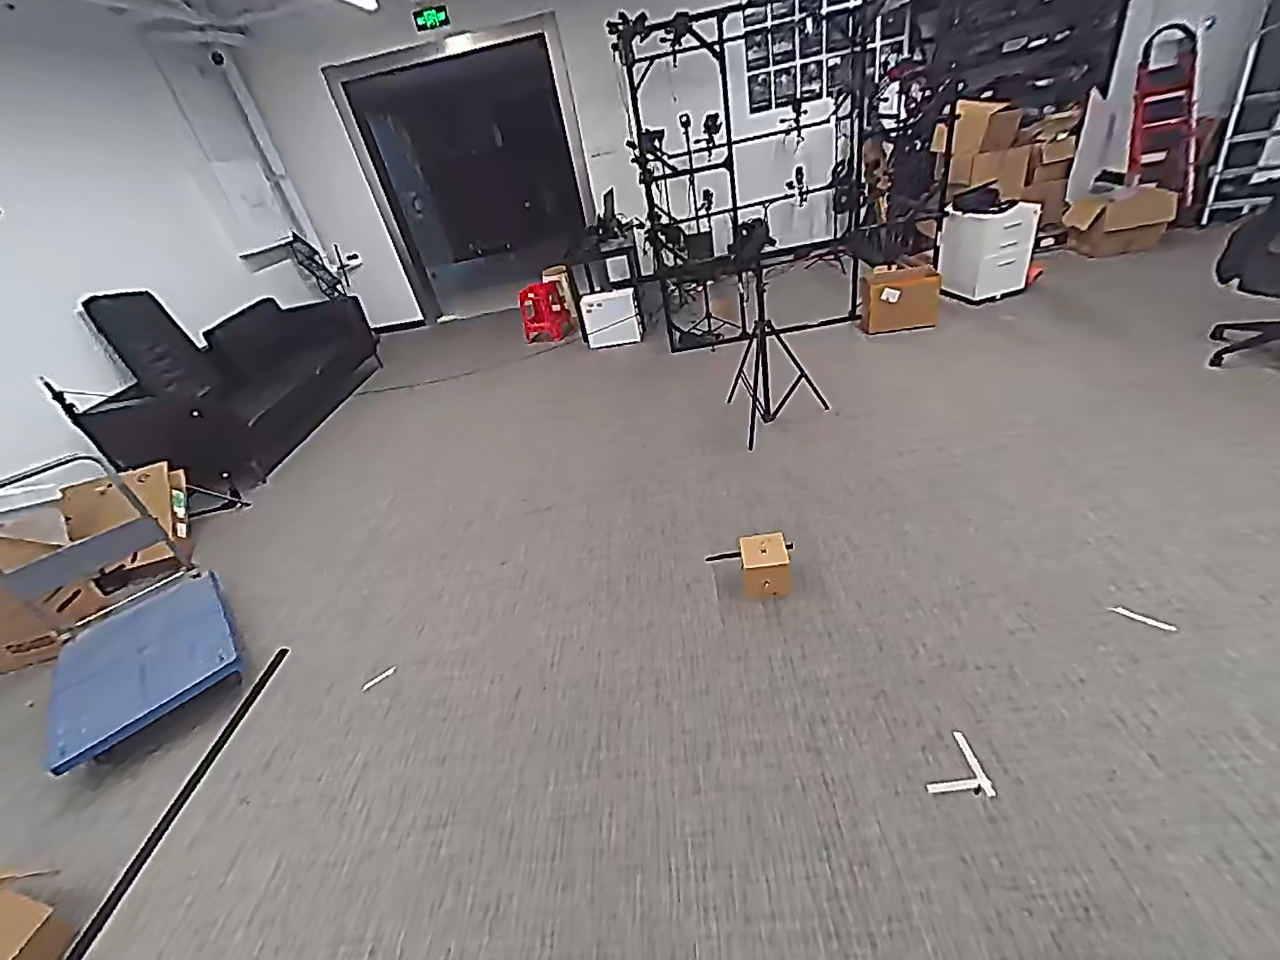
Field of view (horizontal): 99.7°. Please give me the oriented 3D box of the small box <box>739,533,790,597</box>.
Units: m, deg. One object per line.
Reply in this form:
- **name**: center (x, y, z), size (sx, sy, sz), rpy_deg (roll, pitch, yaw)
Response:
- **small box**: center (0.475, 0.329, 2.058), size (0.168, 0.176, 0.179), rpy_deg (-7, 33, 8)
